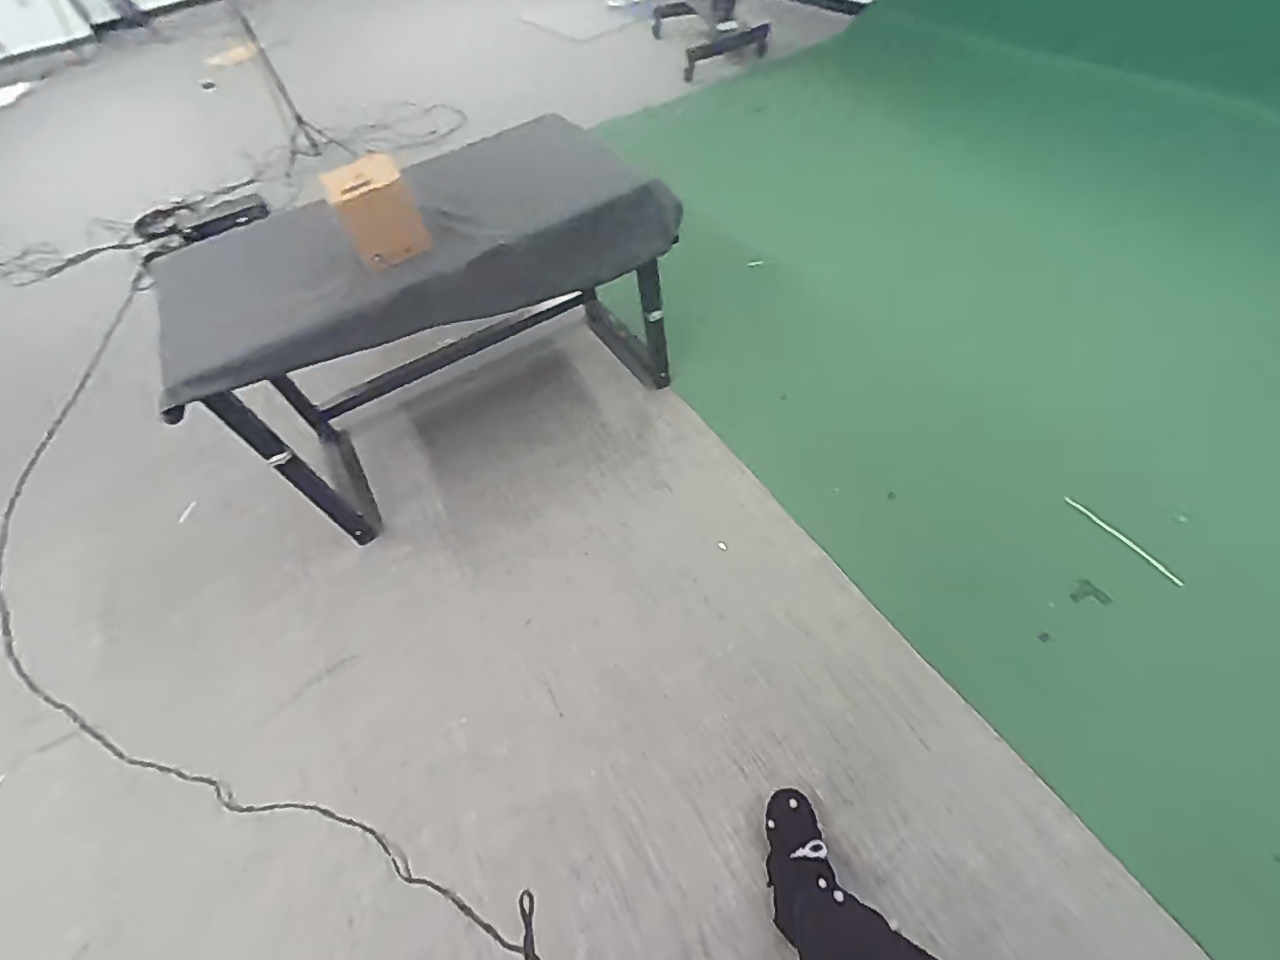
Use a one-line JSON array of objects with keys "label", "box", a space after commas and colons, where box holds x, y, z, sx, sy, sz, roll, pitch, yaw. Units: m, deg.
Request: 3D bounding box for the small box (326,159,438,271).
[{"label": "small box", "box": [-0.607, -0.622, 1.285, 0.168, 0.176, 0.179, -28, 54, -12]}]
